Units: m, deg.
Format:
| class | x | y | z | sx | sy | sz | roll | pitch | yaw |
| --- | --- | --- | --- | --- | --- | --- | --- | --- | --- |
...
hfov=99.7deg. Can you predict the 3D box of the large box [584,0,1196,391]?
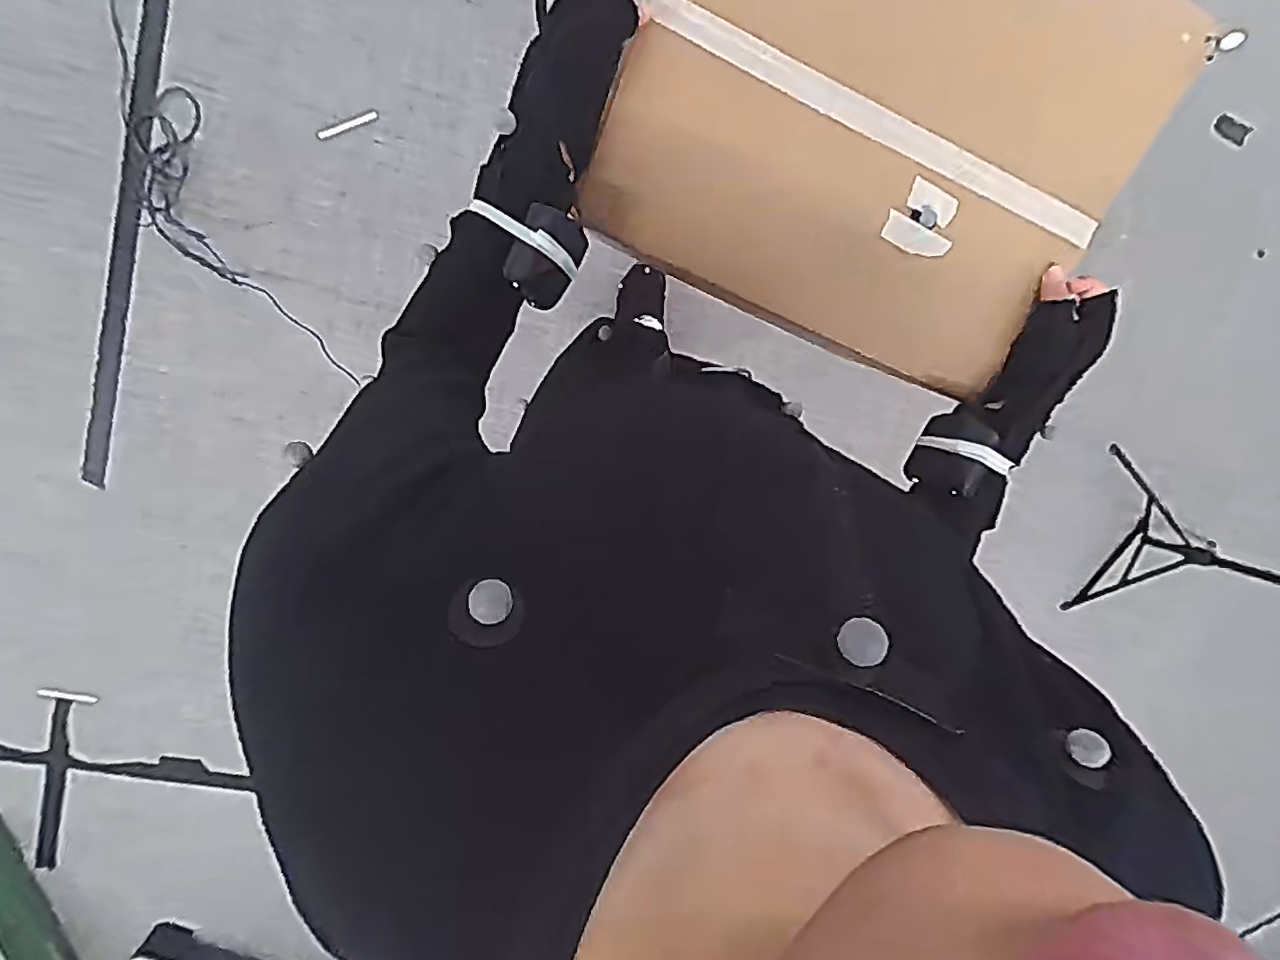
| class | x | y | z | sx | sy | sz | roll | pitch | yaw |
| --- | --- | --- | --- | --- | --- | --- | --- | --- | --- |
| large box | 0.187 | -0.337 | 0.574 | 0.408 | 0.320 | 0.320 | 22 | 110 | -9 |
